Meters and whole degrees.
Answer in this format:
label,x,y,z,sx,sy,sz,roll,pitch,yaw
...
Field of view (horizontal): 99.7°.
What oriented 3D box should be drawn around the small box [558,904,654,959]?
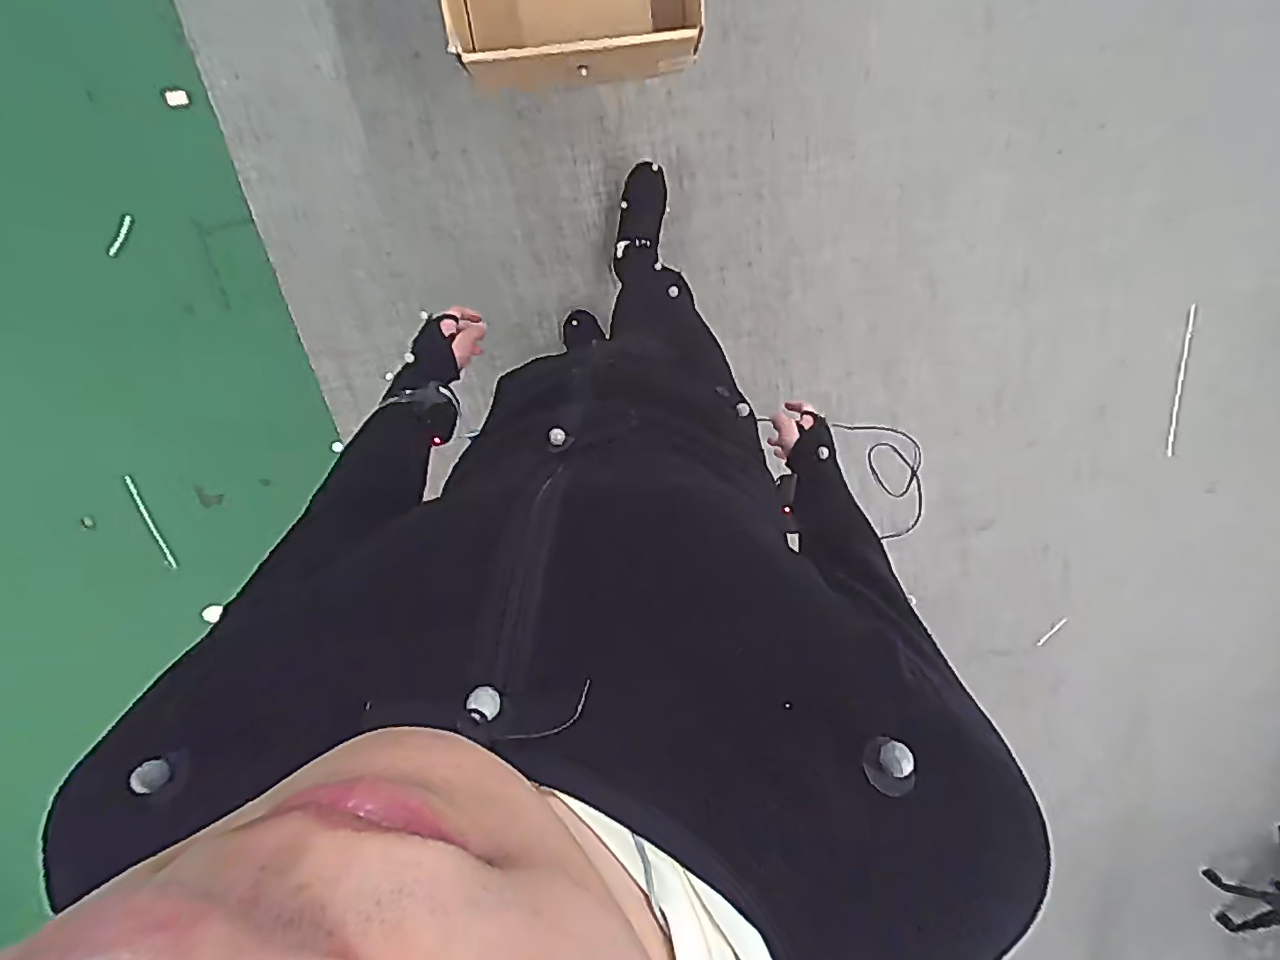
label,x,y,z,sx,sy,sz,roll,pitch,yaw
small box,-0.077,1.102,1.215,0.168,0.176,0.179,-31,110,8
